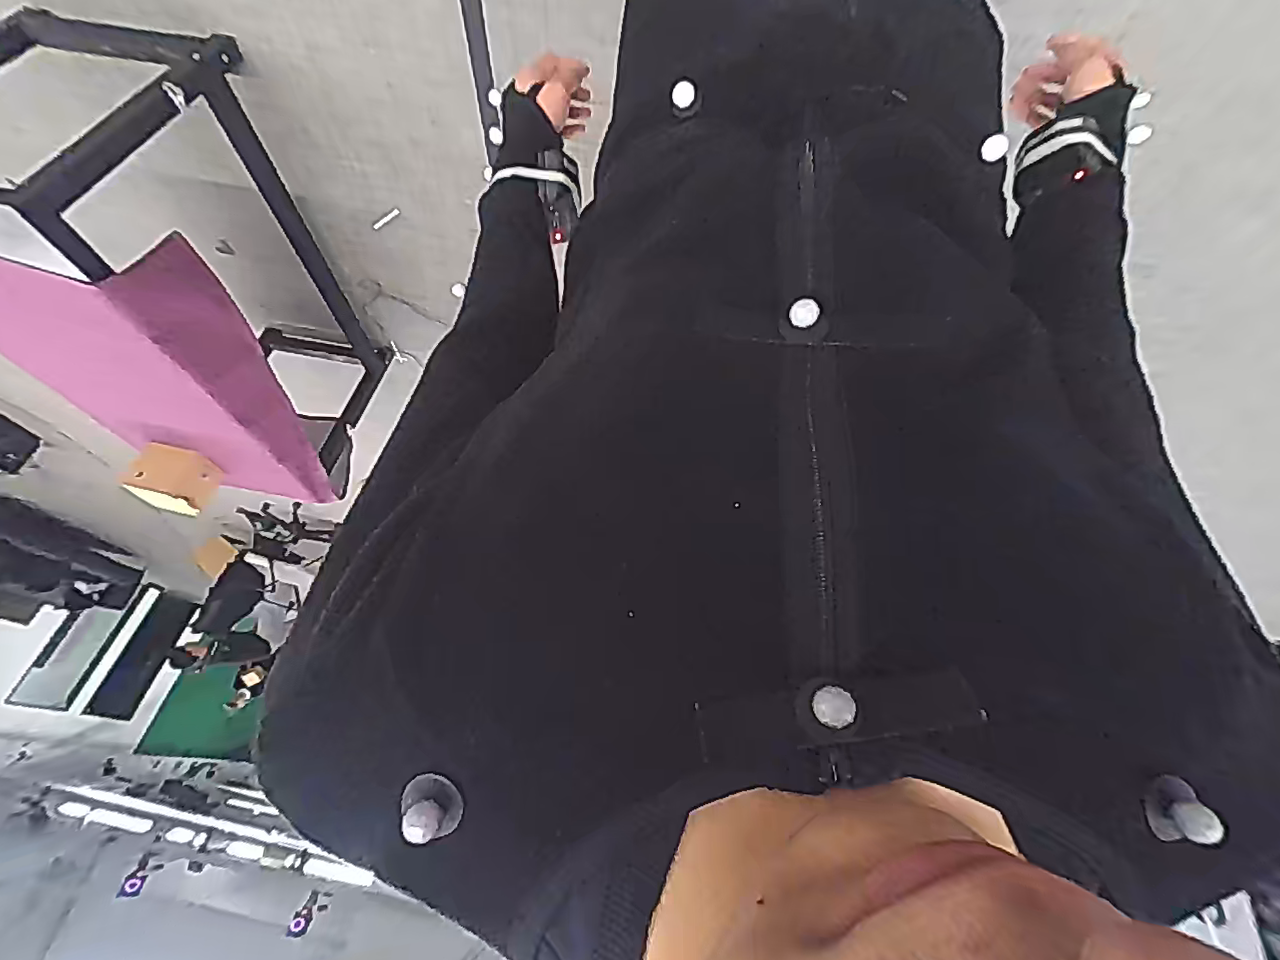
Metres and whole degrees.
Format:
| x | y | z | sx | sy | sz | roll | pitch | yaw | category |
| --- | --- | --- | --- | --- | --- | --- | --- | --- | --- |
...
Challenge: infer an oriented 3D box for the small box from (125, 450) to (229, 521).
| x | y | z | sx | sy | sz | roll | pitch | yaw | category |
| --- | --- | --- | --- | --- | --- | --- | --- | --- | --- |
| -1.573 | 0.016 | 1.851 | 0.179 | 0.176 | 0.168 | 11 | 150 | 1 | small box |
